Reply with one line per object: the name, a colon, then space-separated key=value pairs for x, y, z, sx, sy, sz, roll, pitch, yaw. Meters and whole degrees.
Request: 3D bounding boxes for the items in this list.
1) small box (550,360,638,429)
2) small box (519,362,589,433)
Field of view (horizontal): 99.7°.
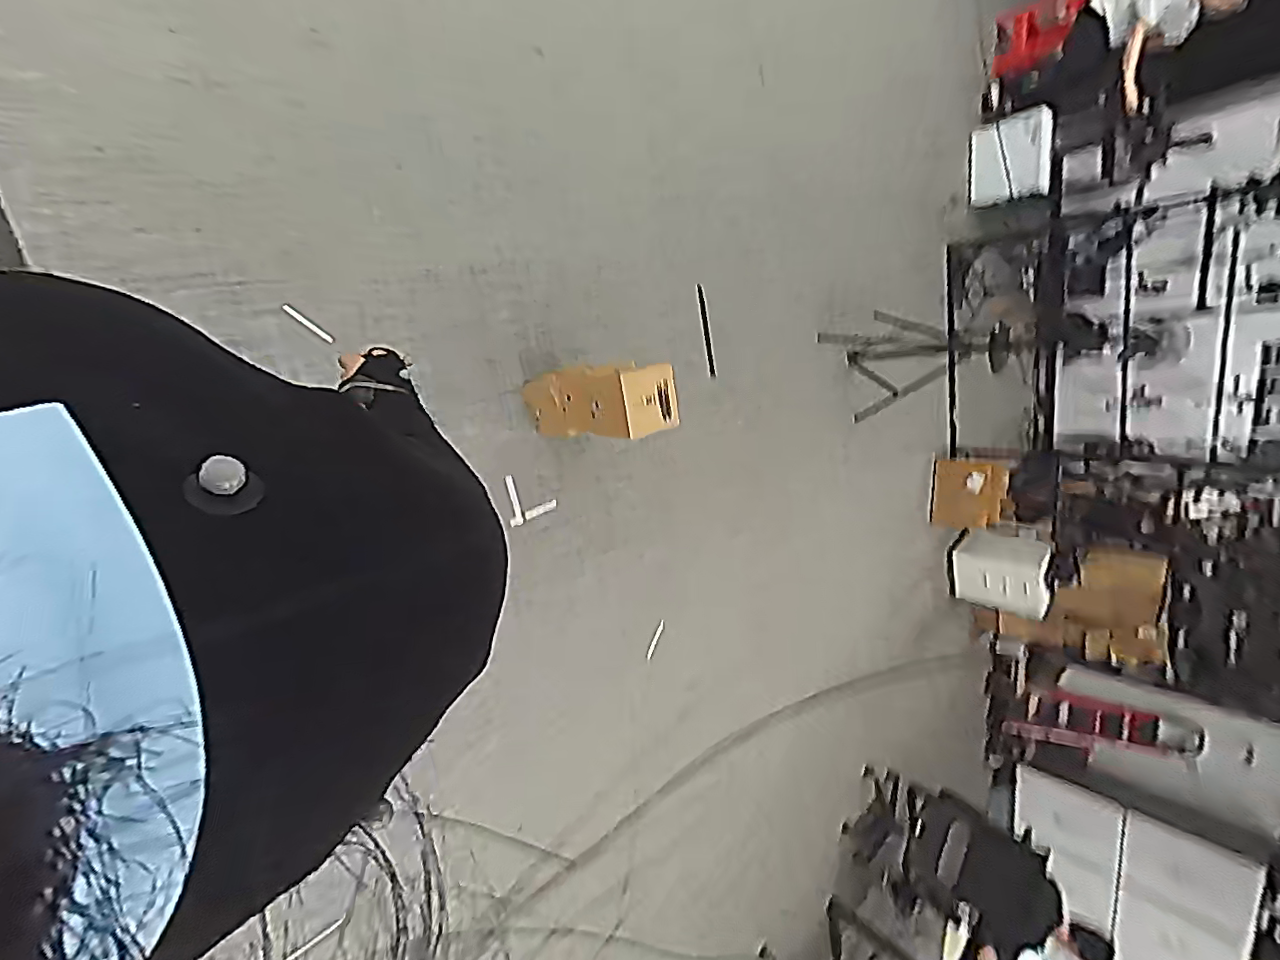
small box: x=-0.133 y=-0.251 z=1.566 sx=0.179 sy=0.176 sz=0.168 roll=-22 pitch=110 yaw=-37
small box: x=-0.244 y=-0.258 z=1.685 sx=0.179 sy=0.176 sz=0.168 roll=-36 pitch=117 yaw=-32
